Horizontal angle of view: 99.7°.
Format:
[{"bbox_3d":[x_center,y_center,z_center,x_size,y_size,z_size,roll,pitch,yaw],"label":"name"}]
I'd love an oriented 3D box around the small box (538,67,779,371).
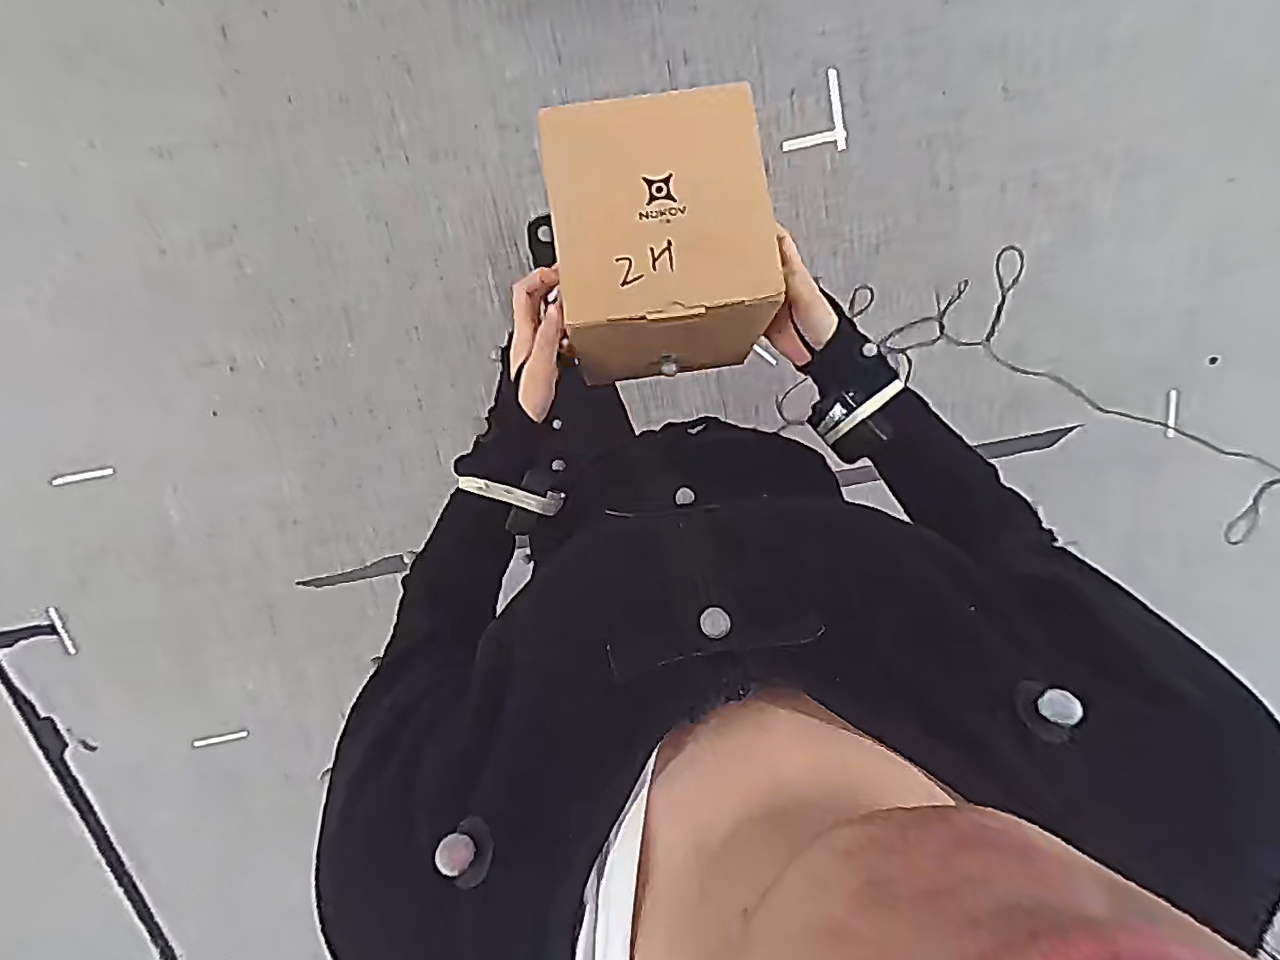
[{"bbox_3d":[0.011,-0.214,0.485,0.168,0.176,0.179,-8,85,-1],"label":"small box"}]
